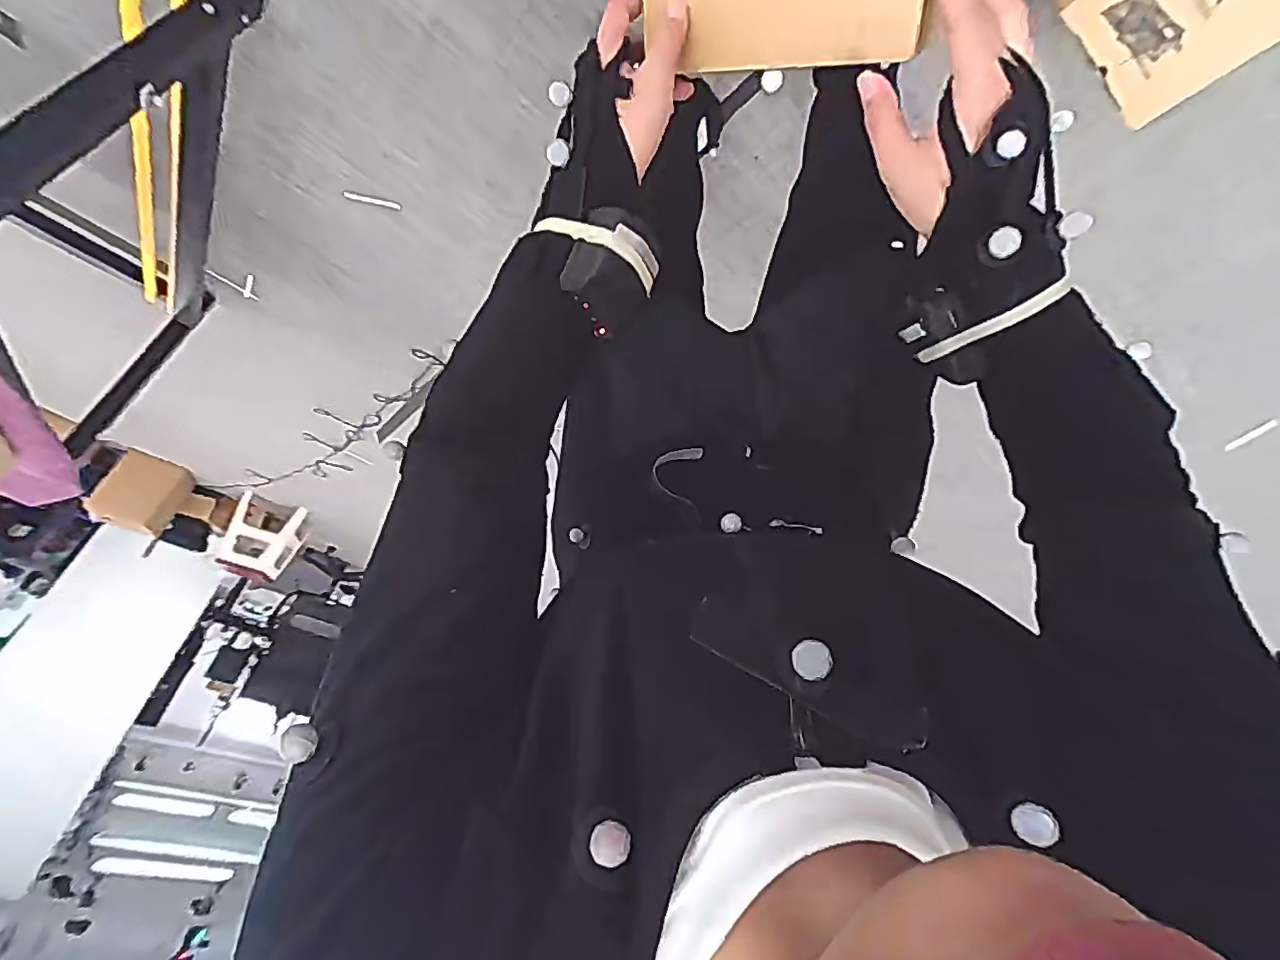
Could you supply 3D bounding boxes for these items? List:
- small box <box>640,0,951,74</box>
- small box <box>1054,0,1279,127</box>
[{"bbox_3d":[0.109,-0.367,0.331,0.179,0.176,0.168,18,138,25],"label":"small box"},{"bbox_3d":[0.527,-0.506,0.521,0.168,0.176,0.179,29,148,-26],"label":"small box"}]
